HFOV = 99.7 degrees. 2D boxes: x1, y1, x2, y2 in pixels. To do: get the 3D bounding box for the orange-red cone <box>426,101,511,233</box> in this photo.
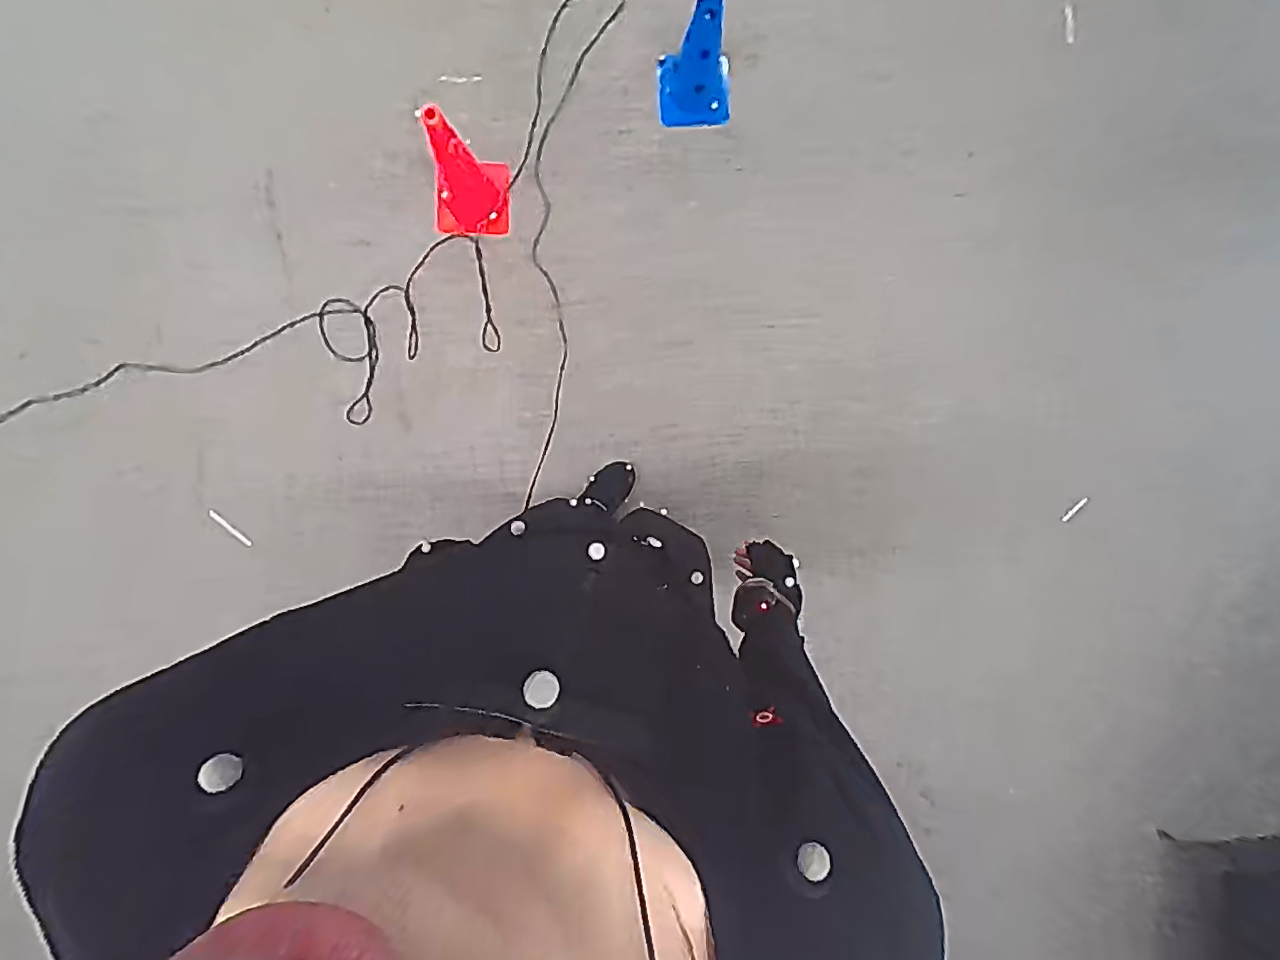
[{"bbox_3d":[-0.447,-0.786,1.317,0.198,0.360,0.199,2,89,-3],"label":"orange-red cone"}]
